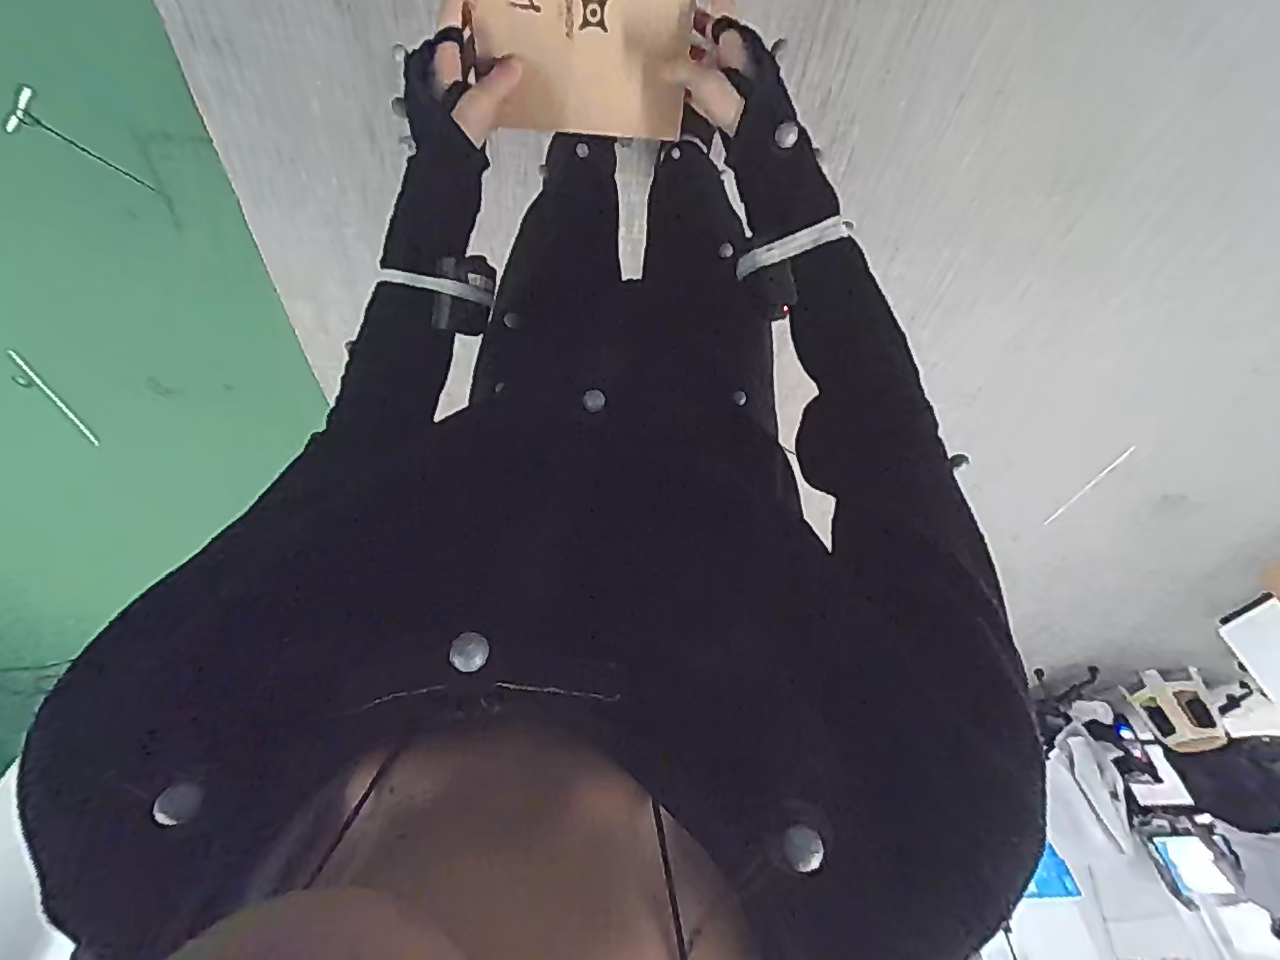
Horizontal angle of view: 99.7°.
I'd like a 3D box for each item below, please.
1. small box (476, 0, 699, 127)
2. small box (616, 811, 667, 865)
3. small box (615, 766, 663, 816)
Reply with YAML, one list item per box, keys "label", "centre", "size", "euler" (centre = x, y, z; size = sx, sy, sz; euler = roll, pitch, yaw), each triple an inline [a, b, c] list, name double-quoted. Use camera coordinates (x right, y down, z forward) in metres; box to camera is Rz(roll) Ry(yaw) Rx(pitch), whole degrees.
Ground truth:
- label: "small box"
  centre: [-0.045, -0.434, 0.474]
  size: [0.179, 0.176, 0.168]
  euler: [2, 135, -6]
- label: "small box"
  centre: [0.001, 1.444, 2.182]
  size: [0.179, 0.176, 0.168]
  euler: [6, 139, -10]
- label: "small box"
  centre: [-0.008, 1.322, 2.292]
  size: [0.179, 0.176, 0.168]
  euler: [4, 140, -8]
